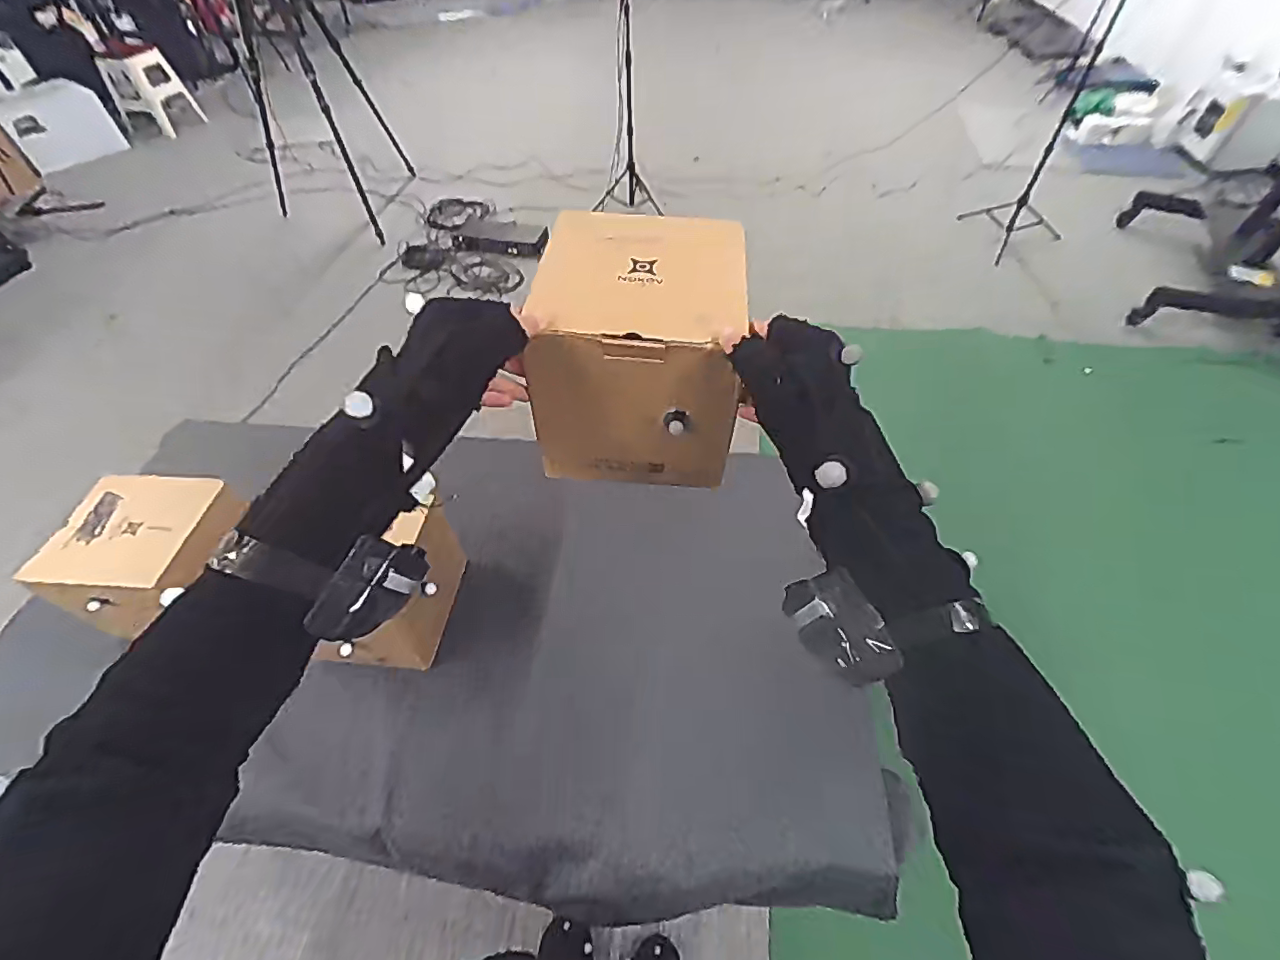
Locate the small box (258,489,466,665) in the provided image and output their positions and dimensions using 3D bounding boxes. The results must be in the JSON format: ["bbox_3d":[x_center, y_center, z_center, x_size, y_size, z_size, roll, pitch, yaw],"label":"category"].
[{"bbox_3d":[-0.354,0.135,0.734,0.168,0.176,0.179,4,51,4],"label":"small box"}]

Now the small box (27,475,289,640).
[{"bbox_3d":[-0.645,0.111,0.756,0.179,0.176,0.168,3,51,2],"label":"small box"}]
